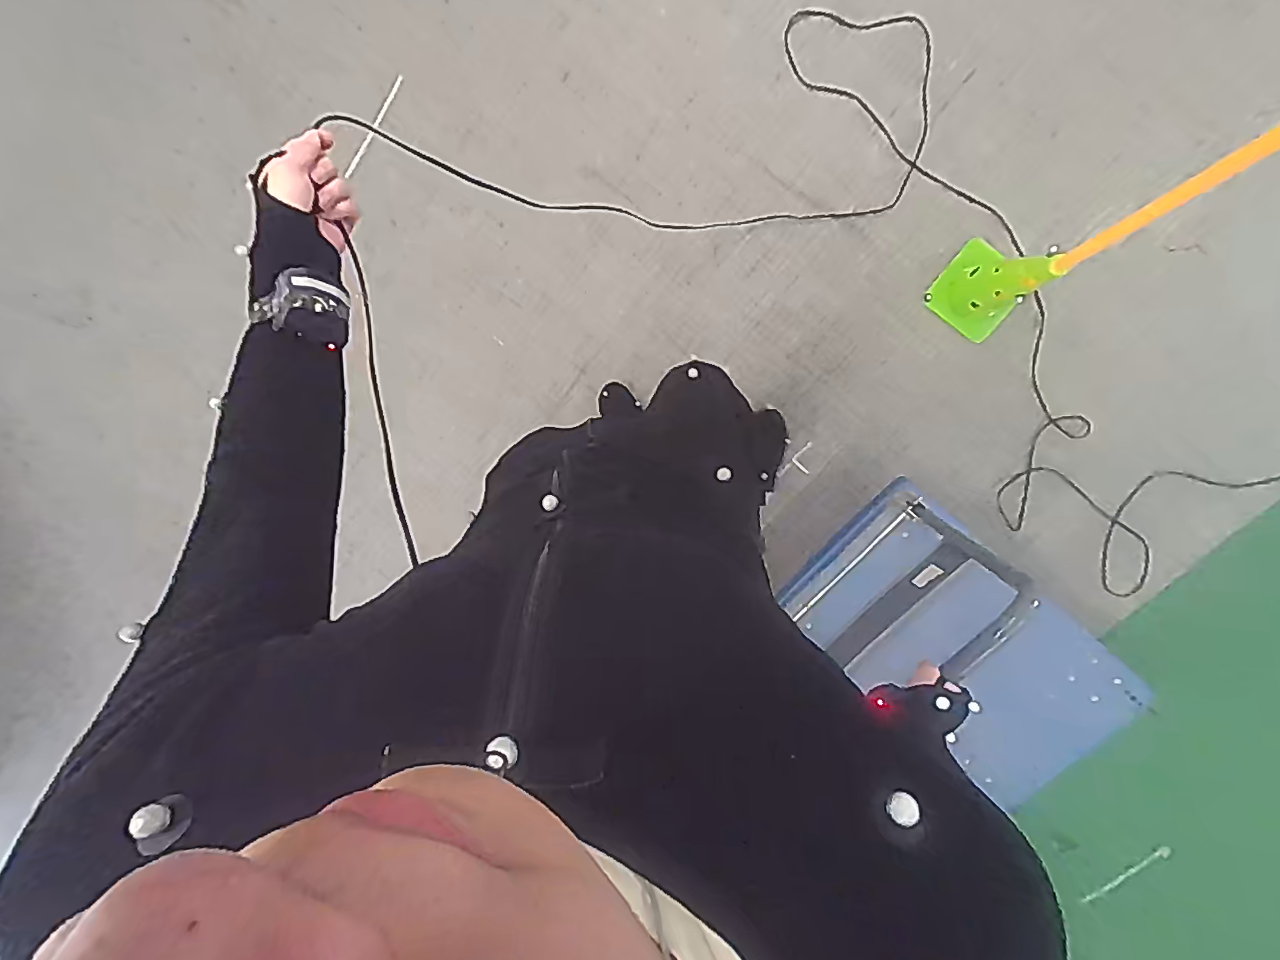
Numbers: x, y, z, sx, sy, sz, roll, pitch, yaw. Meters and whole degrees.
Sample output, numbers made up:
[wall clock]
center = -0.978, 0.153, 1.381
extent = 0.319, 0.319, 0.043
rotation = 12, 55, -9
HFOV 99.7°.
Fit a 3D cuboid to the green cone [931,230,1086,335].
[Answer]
[green cone]
center = 0.857, -0.467, 1.210
extent = 0.200, 0.368, 0.202
rotation = 36, 103, -1
